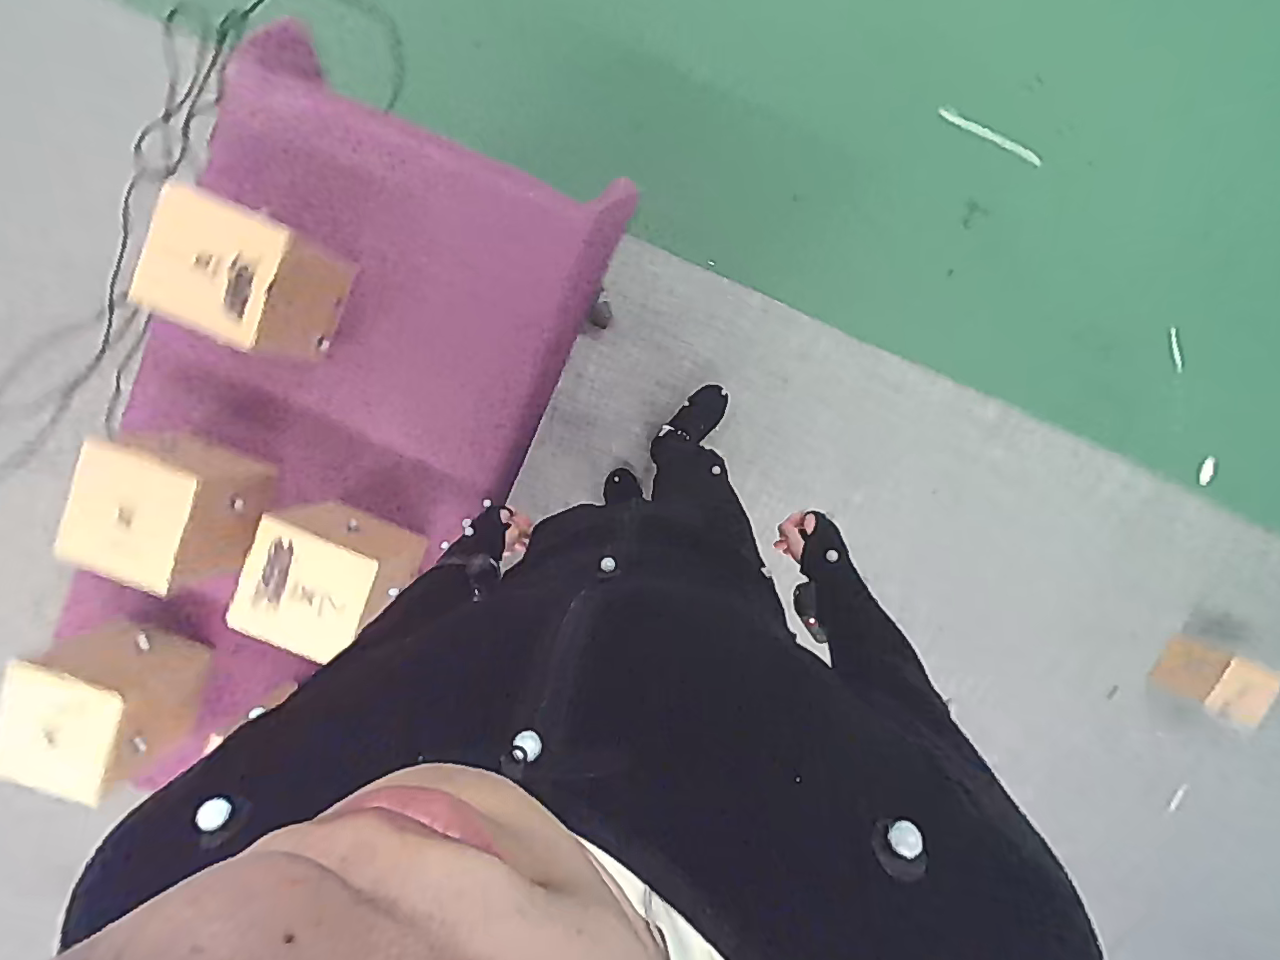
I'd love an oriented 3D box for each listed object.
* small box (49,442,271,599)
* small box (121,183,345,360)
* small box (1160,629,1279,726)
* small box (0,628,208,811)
[{"bbox_3d":[-0.703,0.049,0.815,0.168,0.176,0.179,21,96,-1],"label":"small box"},{"bbox_3d":[-0.566,-0.282,0.778,0.179,0.176,0.168,22,96,0],"label":"small box"},{"bbox_3d":[1.672,0.558,1.553,0.168,0.176,0.179,26,95,-2],"label":"small box"},{"bbox_3d":[-0.829,0.361,0.844,0.168,0.176,0.179,19,95,-2],"label":"small box"}]
